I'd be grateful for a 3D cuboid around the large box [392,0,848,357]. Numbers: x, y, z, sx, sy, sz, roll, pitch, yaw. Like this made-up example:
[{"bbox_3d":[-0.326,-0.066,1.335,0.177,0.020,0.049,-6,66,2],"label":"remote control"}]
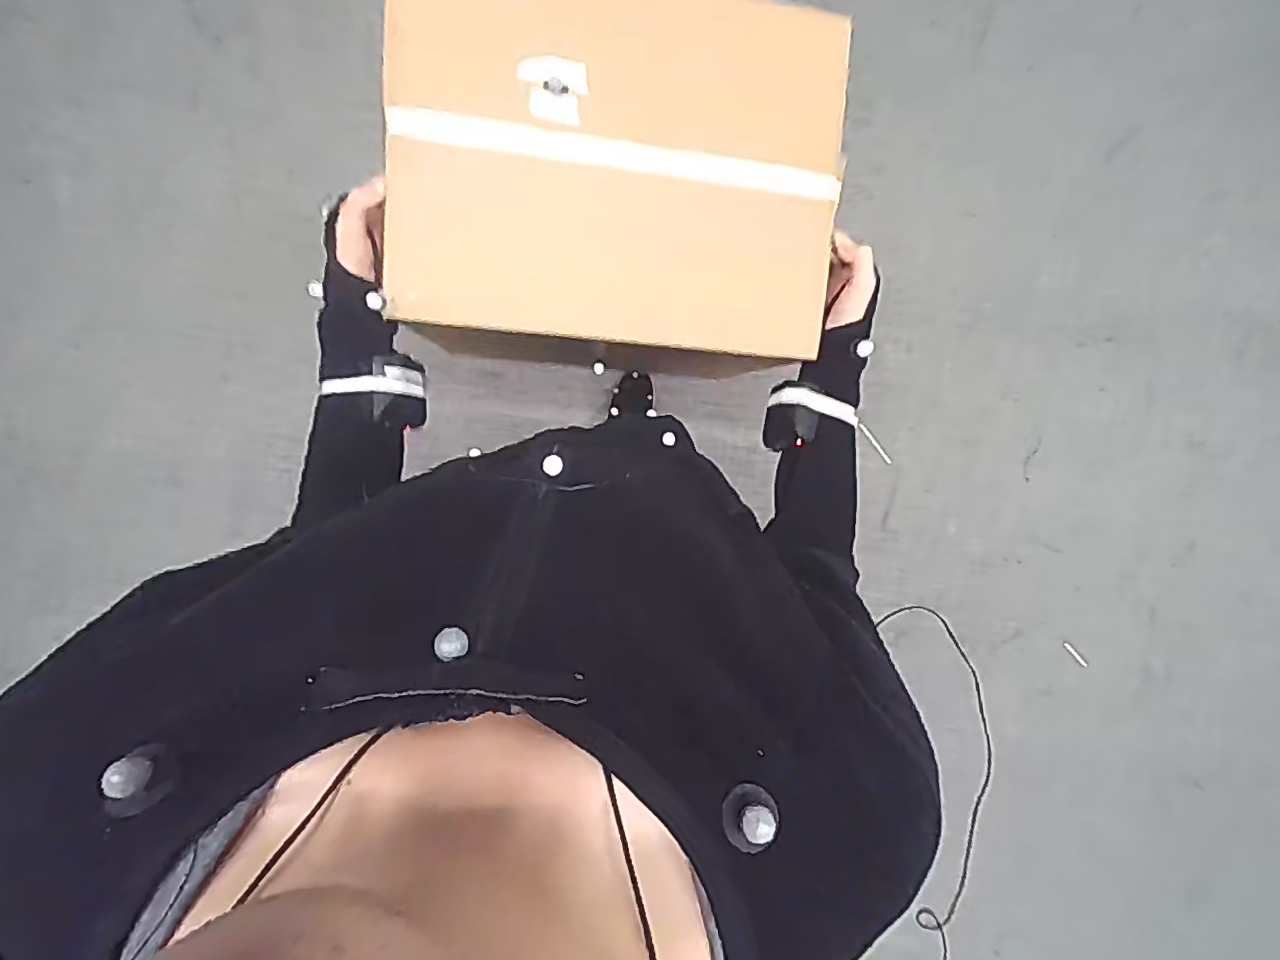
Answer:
[{"bbox_3d":[-0.034,-0.320,0.633,0.408,0.320,0.320,3,97,-10],"label":"large box"}]
